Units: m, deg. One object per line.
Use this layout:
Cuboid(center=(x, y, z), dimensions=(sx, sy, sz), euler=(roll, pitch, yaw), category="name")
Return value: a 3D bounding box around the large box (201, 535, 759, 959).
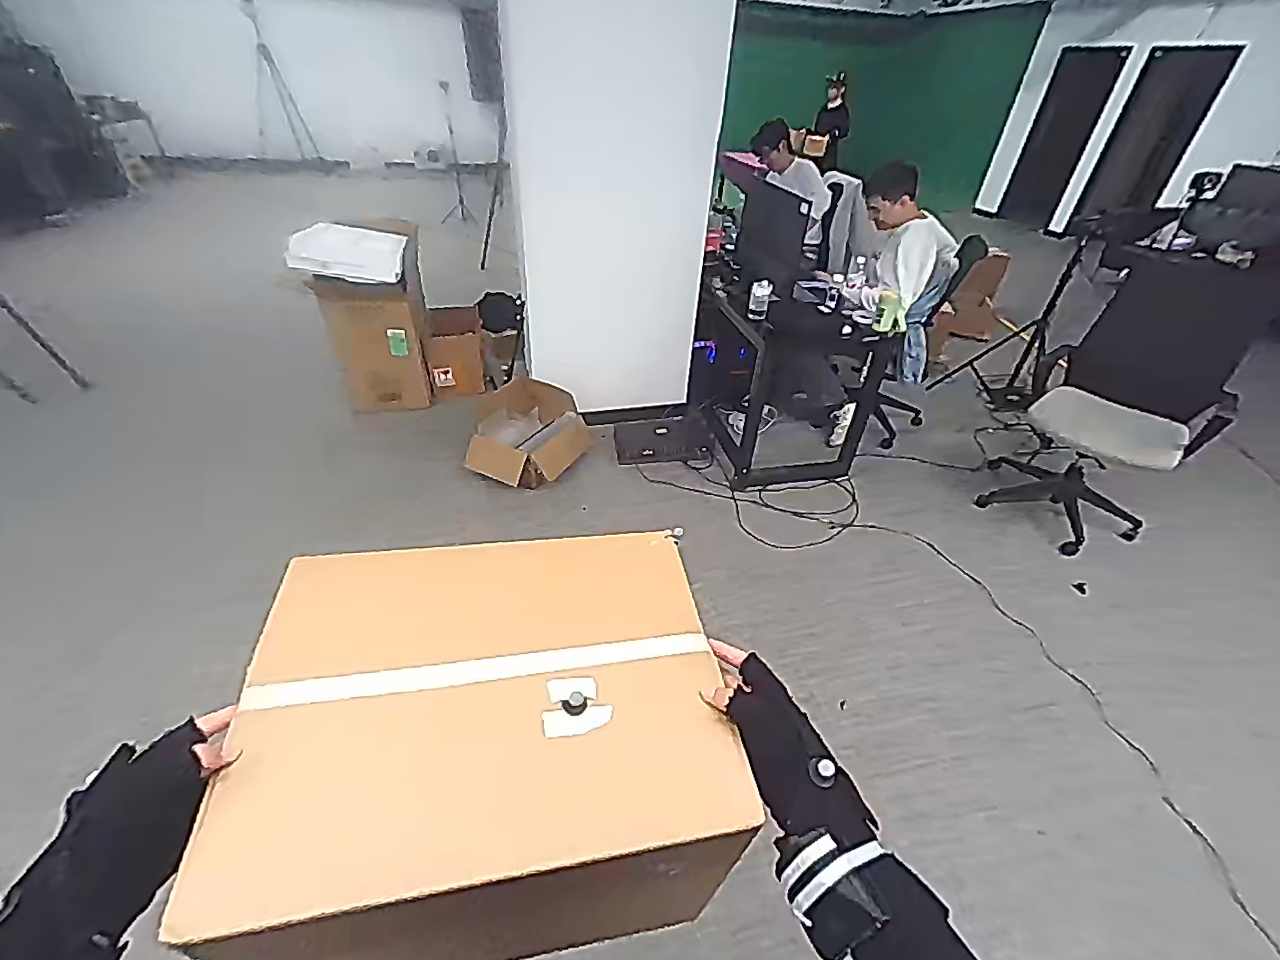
Cuboid(center=(-0.141, 0.289, 0.595), dimensions=(0.408, 0.320, 0.320), euler=(-3, 42, -13), category="large box")
